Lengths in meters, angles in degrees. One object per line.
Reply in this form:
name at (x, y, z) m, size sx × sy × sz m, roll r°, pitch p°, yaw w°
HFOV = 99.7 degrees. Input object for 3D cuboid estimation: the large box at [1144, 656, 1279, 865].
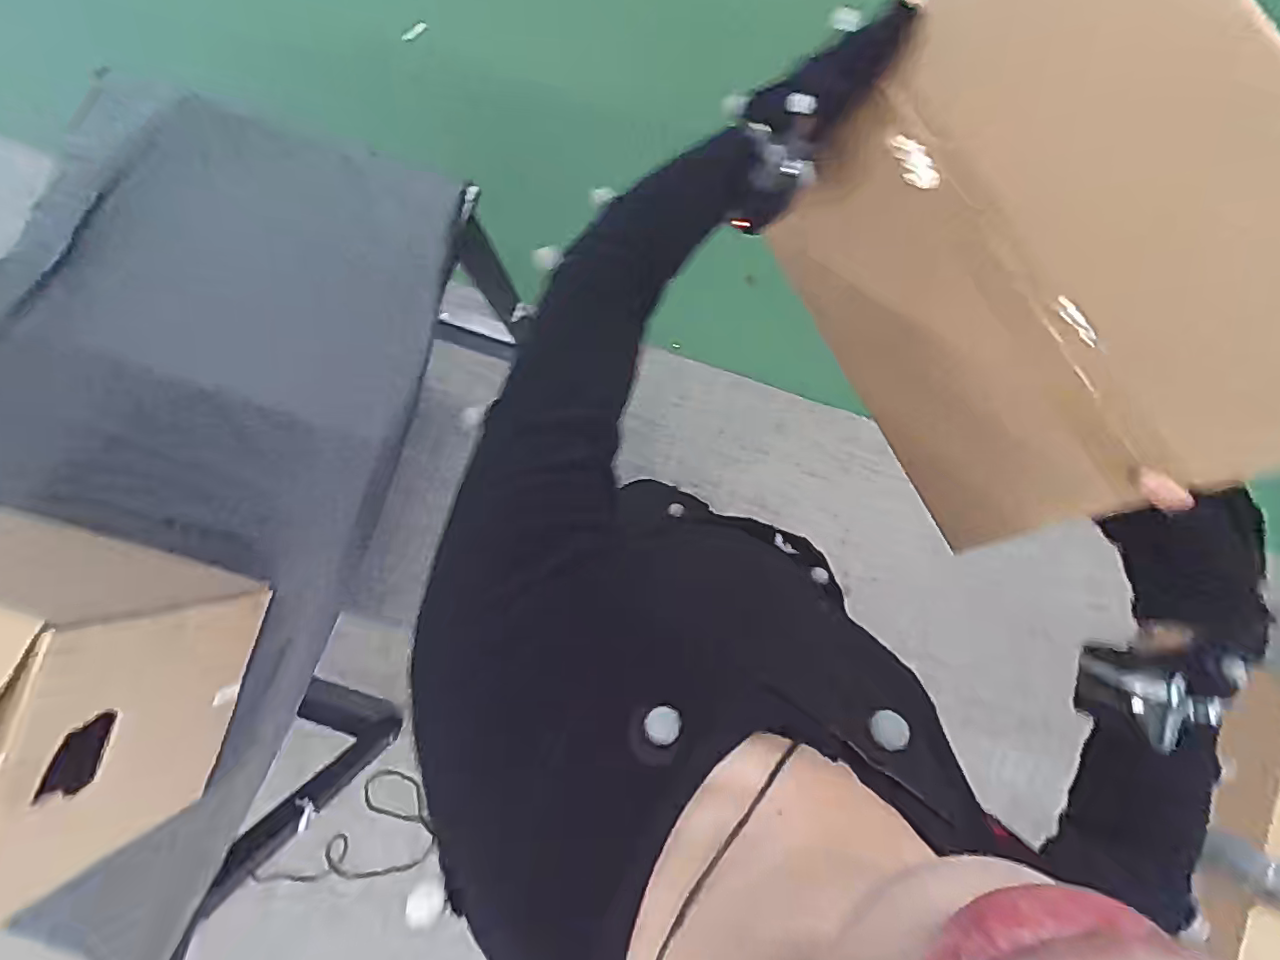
large box at (1.574, 0.710, 1.345) m, size 0.320 × 0.320 × 0.408 m, roll 19°, pitch 84°, yaw 1°
